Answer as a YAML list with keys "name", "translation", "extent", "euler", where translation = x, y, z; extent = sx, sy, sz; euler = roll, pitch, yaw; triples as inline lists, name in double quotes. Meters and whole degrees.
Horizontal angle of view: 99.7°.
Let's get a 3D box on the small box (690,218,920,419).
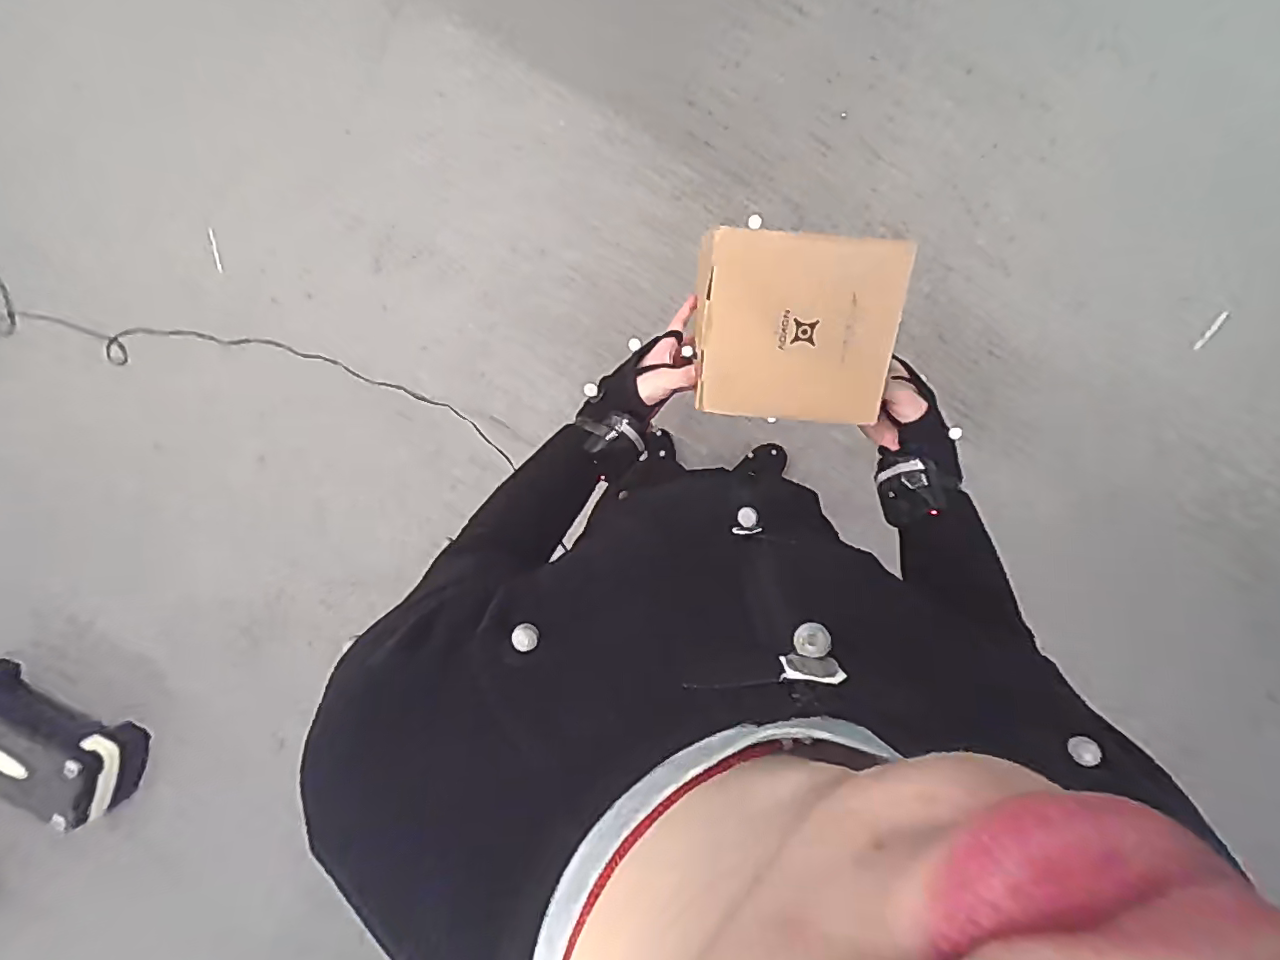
- name: "small box"
  translation: [0.146, -0.170, 0.557]
  extent: [0.179, 0.176, 0.168]
  euler: [4, 114, 1]
